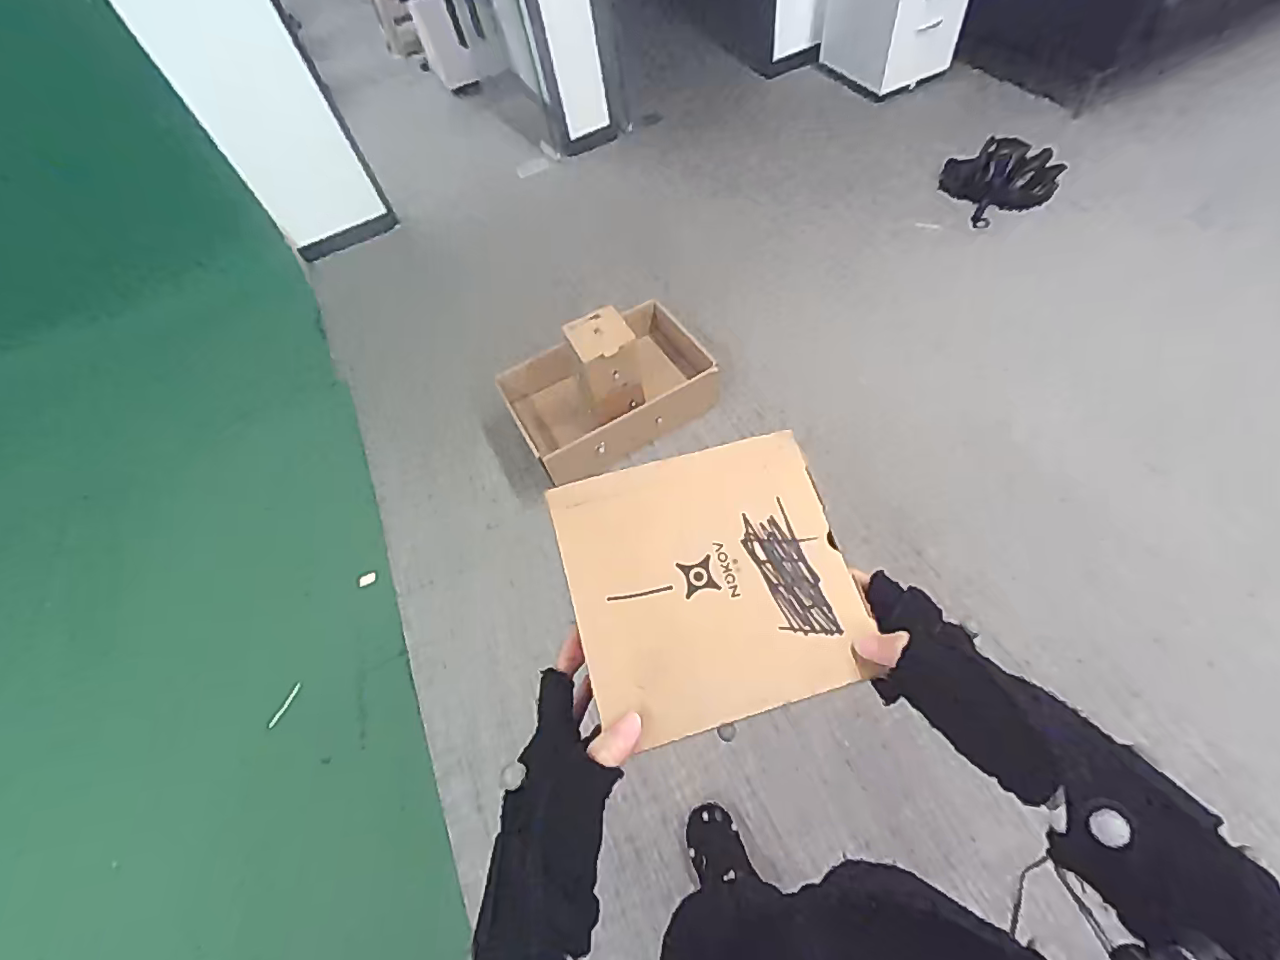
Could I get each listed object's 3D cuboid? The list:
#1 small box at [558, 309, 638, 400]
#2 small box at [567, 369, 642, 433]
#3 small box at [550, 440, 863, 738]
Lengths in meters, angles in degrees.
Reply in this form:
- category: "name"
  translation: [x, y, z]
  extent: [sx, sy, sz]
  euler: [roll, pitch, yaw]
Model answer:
- category: "small box"
  translation: [-0.117, -0.359, 1.583]
  extent: [0.168, 0.176, 0.179]
  euler: [-25, 57, -9]
- category: "small box"
  translation: [-0.108, -0.272, 1.722]
  extent: [0.168, 0.176, 0.179]
  euler: [-27, 56, -10]
- category: "small box"
  translation: [0.034, 0.090, 0.428]
  extent: [0.179, 0.176, 0.168]
  euler: [-13, 69, -9]
